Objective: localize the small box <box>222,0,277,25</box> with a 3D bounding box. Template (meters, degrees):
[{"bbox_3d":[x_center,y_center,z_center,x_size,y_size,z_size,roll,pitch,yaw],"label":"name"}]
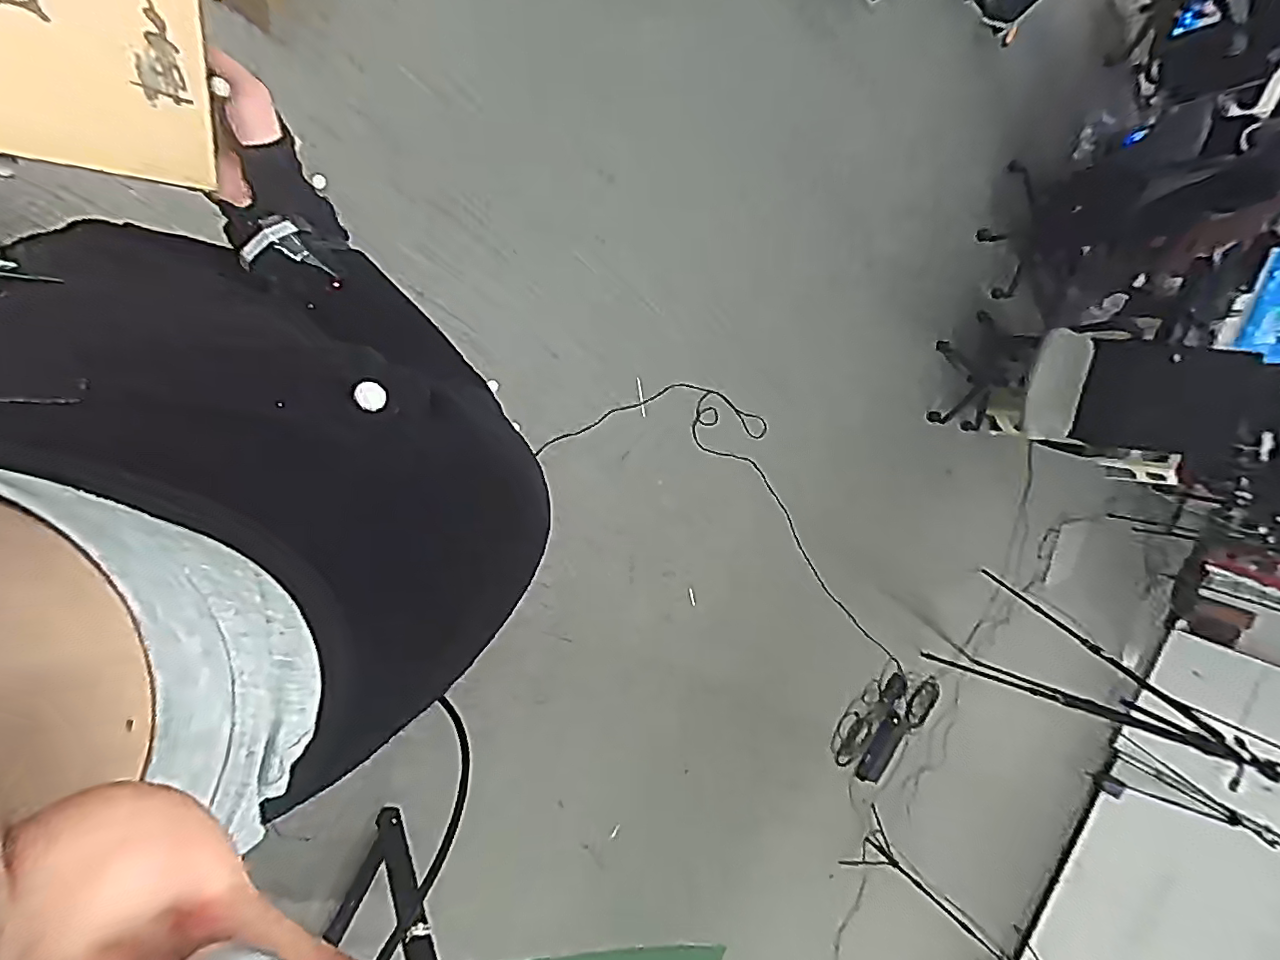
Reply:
[{"bbox_3d":[-0.770,-1.029,1.018,0.168,0.176,0.179,27,90,-36],"label":"small box"}]
